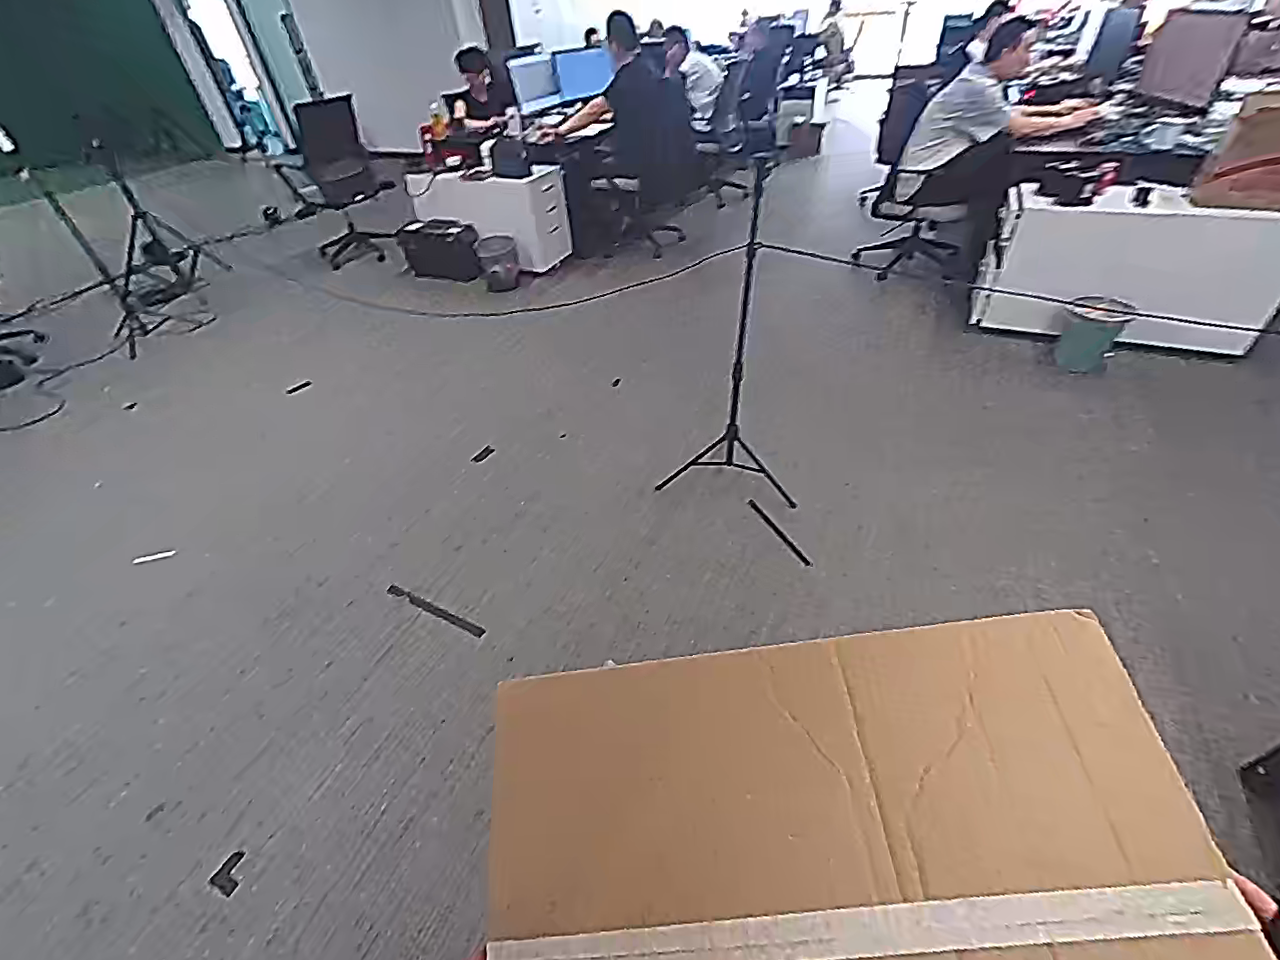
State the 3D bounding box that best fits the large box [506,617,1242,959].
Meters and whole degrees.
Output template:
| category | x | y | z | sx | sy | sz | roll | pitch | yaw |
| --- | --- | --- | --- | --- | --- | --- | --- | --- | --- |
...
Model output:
| category | x | y | z | sx | sy | sz | roll | pitch | yaw |
| --- | --- | --- | --- | --- | --- | --- | --- | --- | --- |
| large box | 0.135 | 0.328 | 0.438 | 0.408 | 0.320 | 0.320 | -9 | 61 | 5 |
